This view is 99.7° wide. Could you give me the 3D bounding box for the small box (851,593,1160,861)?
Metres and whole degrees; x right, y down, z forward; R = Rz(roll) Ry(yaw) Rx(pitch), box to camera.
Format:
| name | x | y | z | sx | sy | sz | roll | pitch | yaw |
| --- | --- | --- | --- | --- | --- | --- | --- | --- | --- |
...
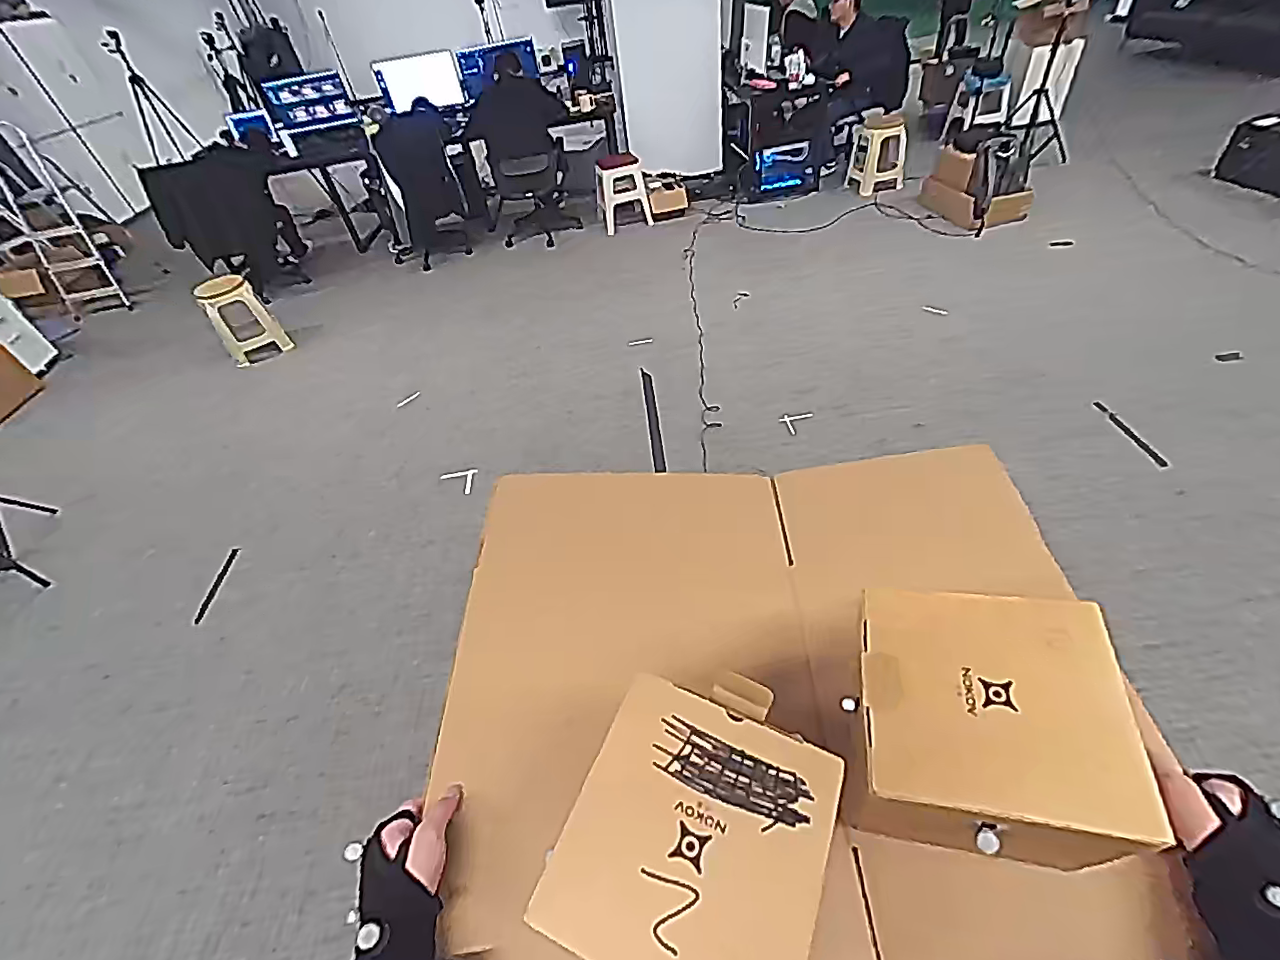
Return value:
| name | x | y | z | sx | sy | sz | roll | pitch | yaw |
| --- | --- | --- | --- | --- | --- | --- | --- | --- | --- |
| small box | 0.286 | 0.218 | 0.476 | 0.179 | 0.176 | 0.168 | 0 | 51 | 19 |
